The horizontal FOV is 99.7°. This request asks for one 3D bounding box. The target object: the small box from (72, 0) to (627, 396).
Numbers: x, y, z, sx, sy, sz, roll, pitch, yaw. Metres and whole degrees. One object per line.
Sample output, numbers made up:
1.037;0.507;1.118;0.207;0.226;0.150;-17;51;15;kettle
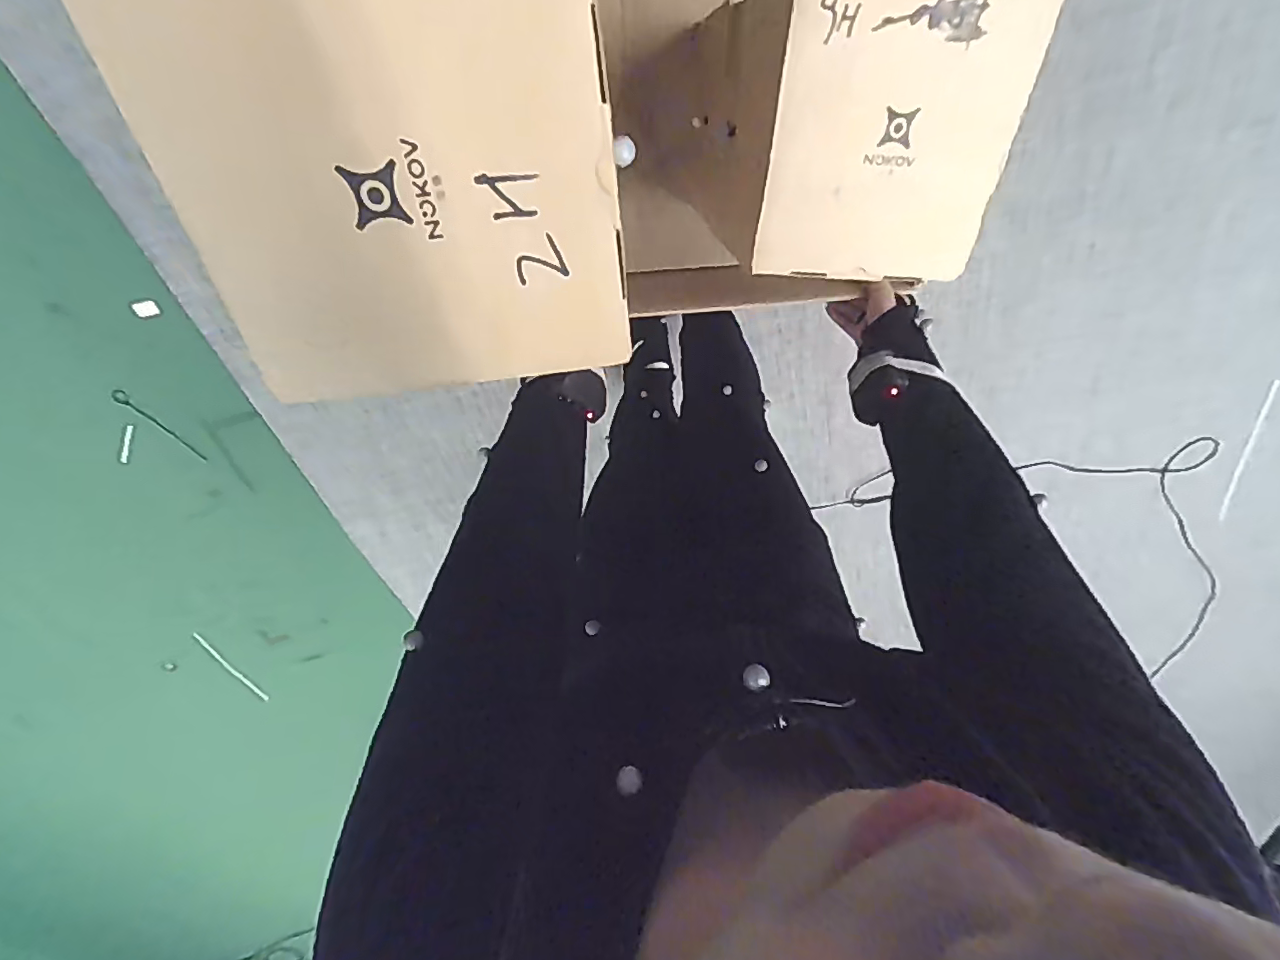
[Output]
-0.104;-0.161;0.283;0.179;0.176;0.168;-7;126;-2;small box
